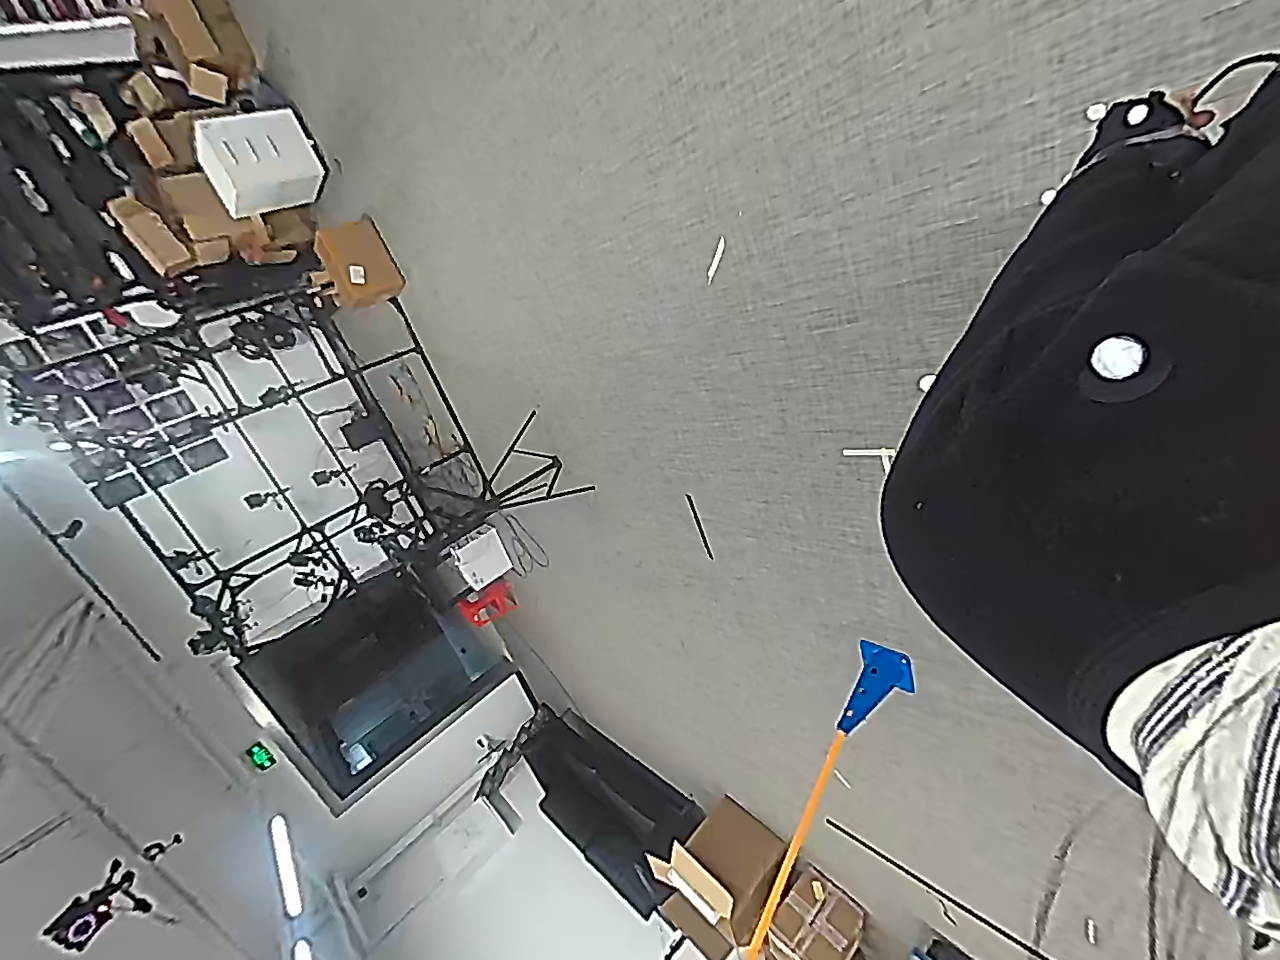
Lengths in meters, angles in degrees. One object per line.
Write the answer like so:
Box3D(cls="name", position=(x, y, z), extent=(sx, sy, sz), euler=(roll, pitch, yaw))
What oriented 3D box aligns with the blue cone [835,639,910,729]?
Box3D(cls="blue cone", position=(0.846, 0.799, 2.032), extent=(0.193, 0.380, 0.192), euler=(12, 128, 49))
